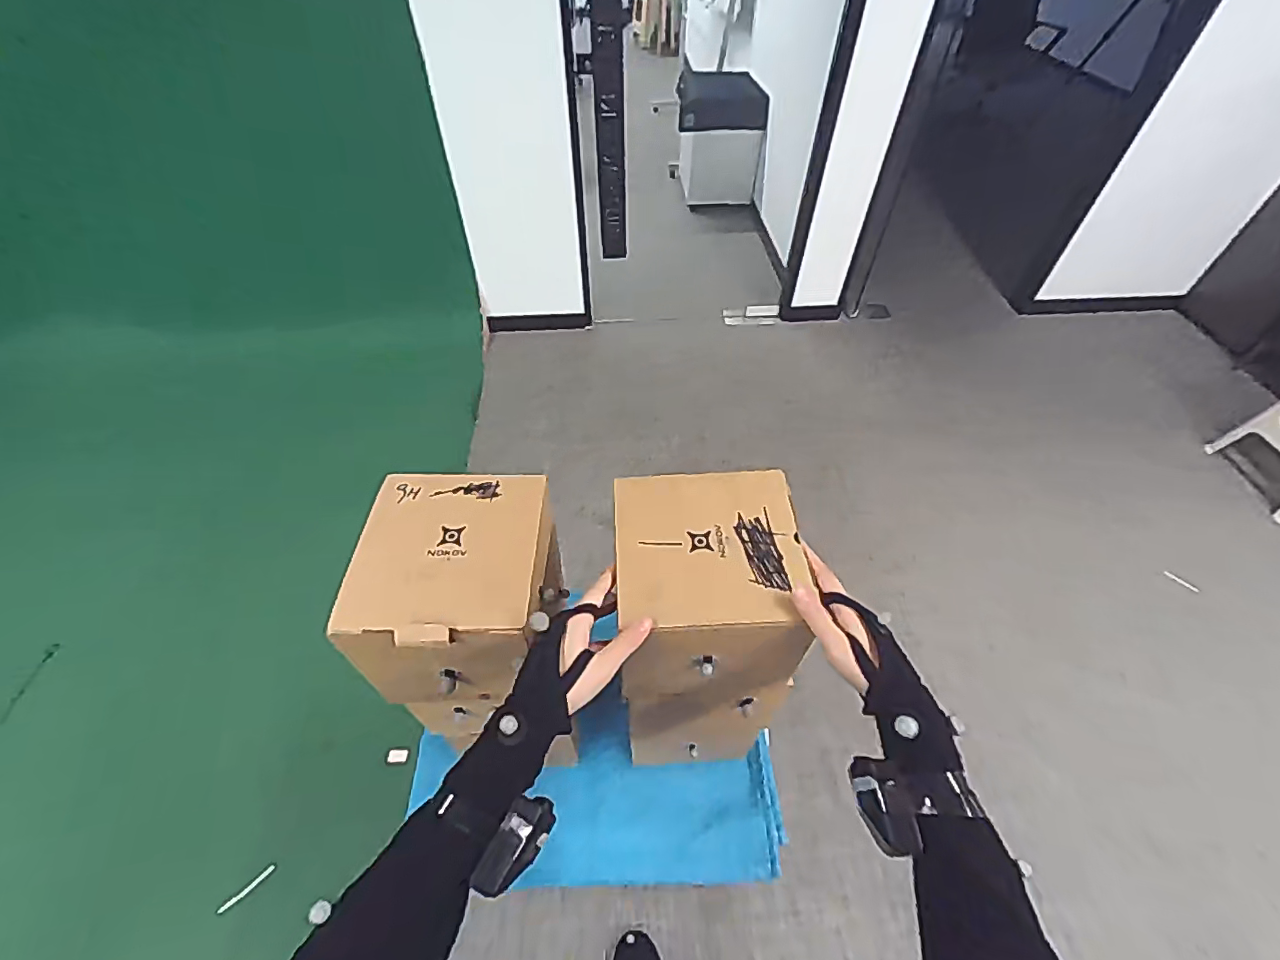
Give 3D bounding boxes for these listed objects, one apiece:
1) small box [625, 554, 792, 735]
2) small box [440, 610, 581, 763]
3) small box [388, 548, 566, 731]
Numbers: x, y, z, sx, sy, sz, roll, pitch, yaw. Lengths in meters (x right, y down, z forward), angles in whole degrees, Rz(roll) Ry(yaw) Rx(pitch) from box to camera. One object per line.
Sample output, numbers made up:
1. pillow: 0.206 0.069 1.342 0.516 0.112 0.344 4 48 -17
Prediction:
1. small box: 0.070 0.209 0.680 0.179 0.176 0.168 -3 50 -2
2. small box: -0.178 0.312 0.809 0.168 0.176 0.179 1 49 -1
3. small box: -0.187 0.206 0.687 0.168 0.176 0.179 1 48 -1
